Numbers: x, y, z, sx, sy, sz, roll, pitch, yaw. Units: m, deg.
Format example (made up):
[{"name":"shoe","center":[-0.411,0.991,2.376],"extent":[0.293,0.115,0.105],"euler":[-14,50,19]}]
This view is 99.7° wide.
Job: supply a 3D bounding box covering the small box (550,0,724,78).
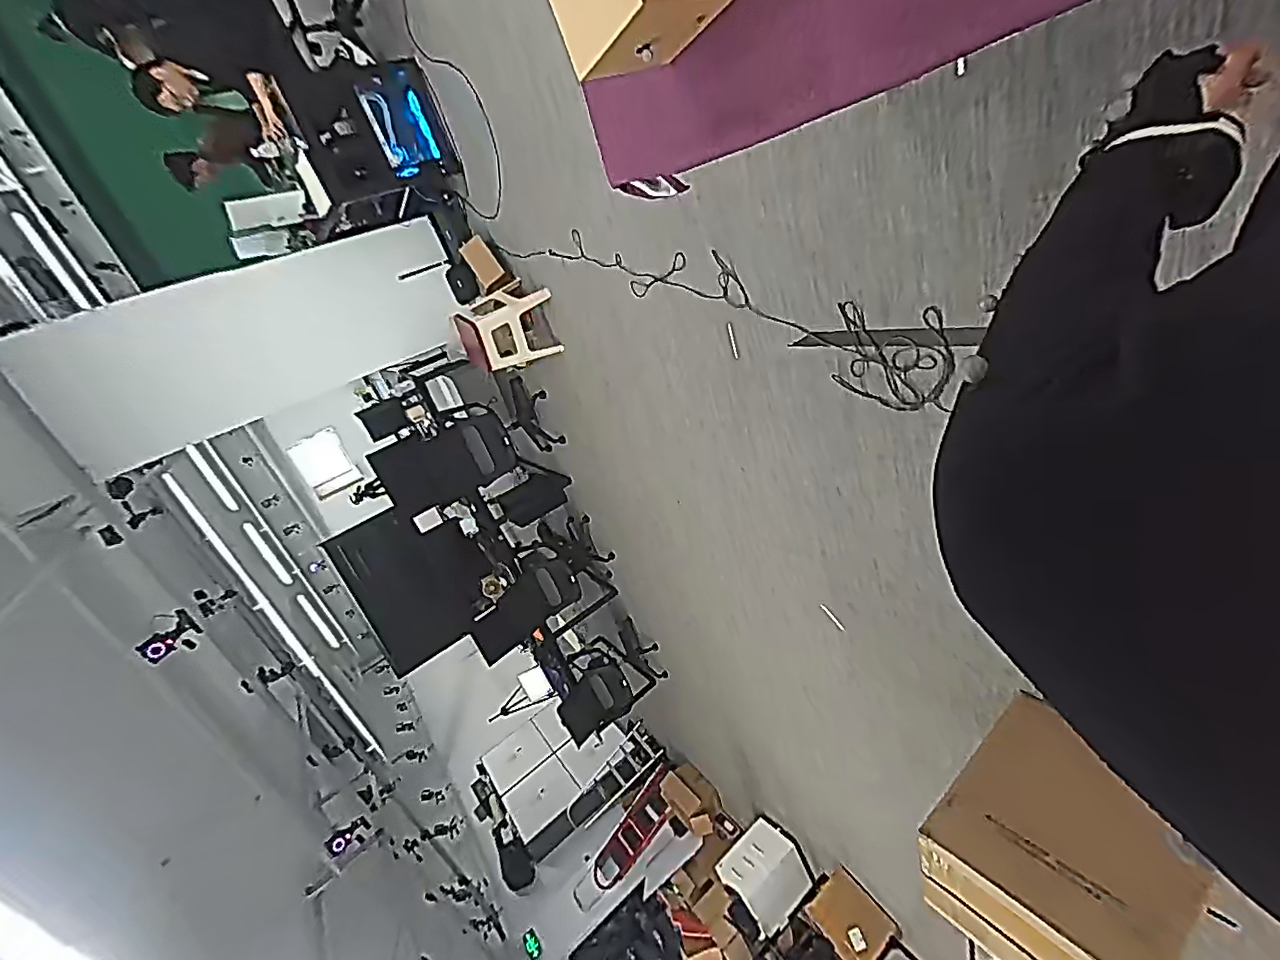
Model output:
[{"name":"small box","center":[-0.008,-0.647,0.666],"extent":[0.168,0.176,0.179],"euler":[10,127,58]}]
